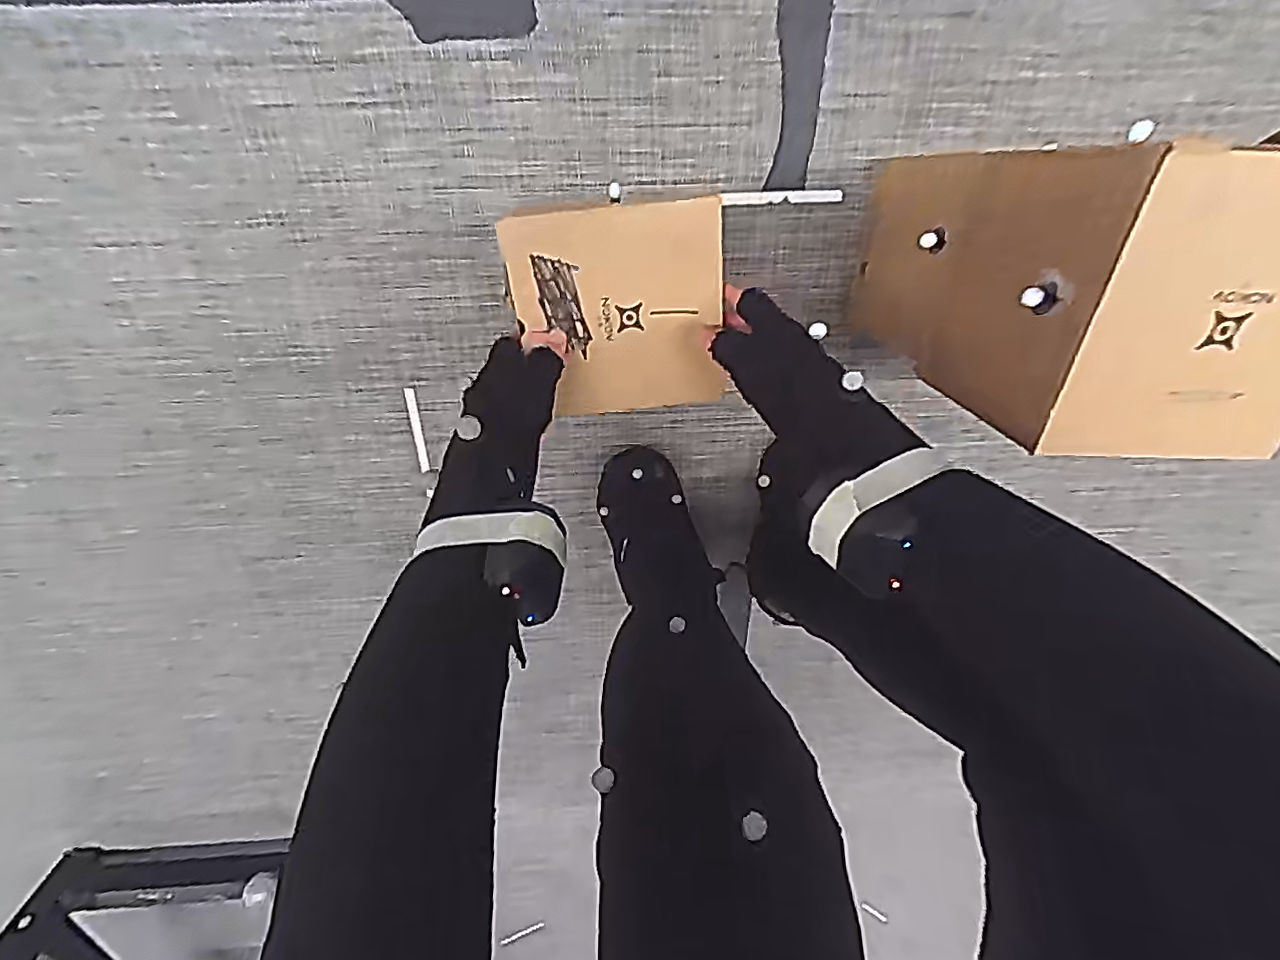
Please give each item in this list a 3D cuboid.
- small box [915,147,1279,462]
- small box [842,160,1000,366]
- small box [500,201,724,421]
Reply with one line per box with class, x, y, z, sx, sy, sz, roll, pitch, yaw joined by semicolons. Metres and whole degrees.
small box;0.332;-0.128;0.389;0.168;0.176;0.179;1;120;-4
small box;0.330;-0.211;0.529;0.179;0.176;0.168;1;118;-6
small box;-0.021;-0.170;0.524;0.179;0.176;0.168;-7;119;-2
